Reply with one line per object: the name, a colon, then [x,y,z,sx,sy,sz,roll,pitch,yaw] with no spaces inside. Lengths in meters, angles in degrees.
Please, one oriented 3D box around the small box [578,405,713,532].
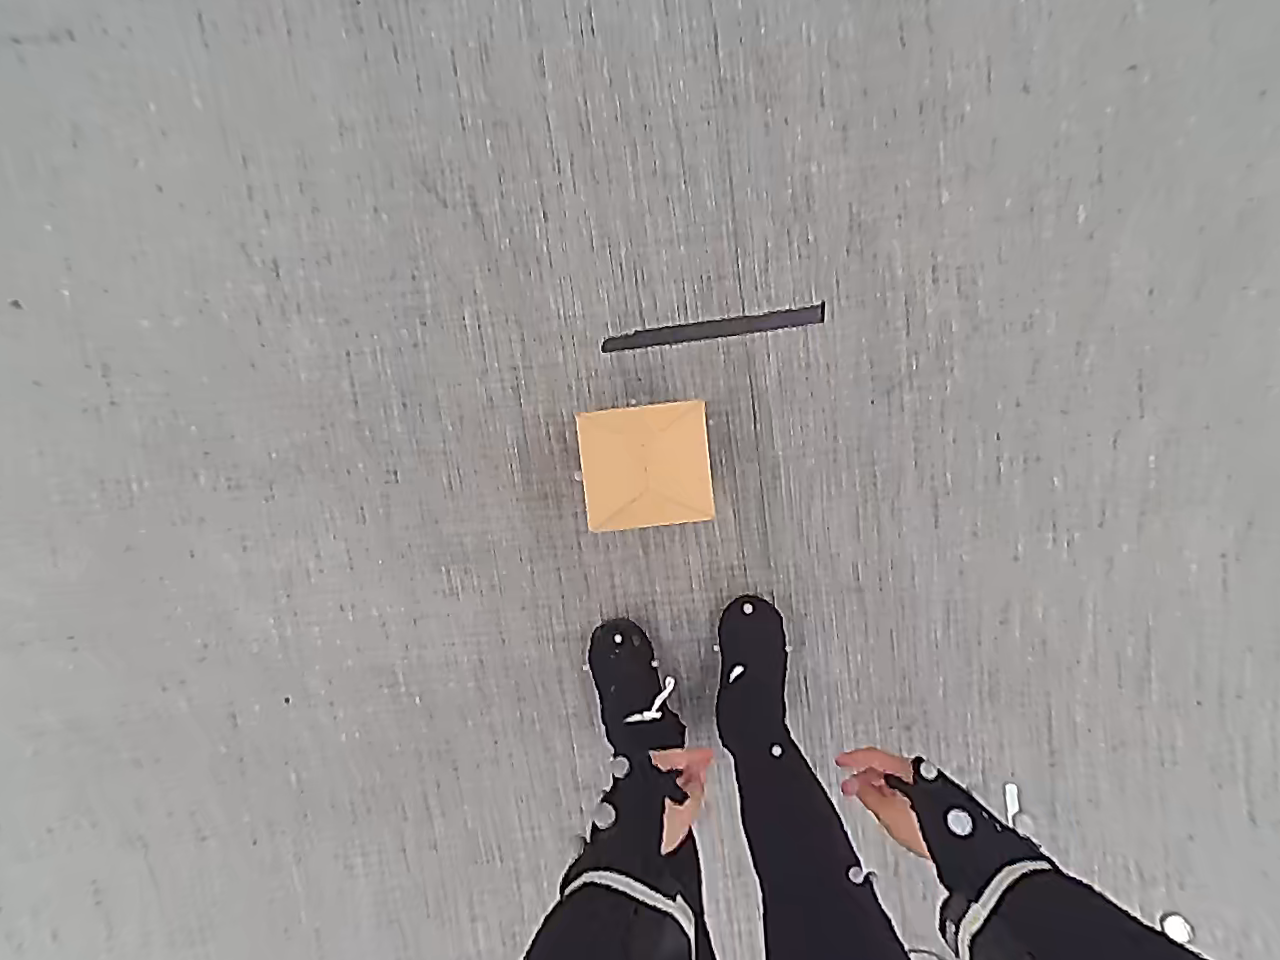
small box: [0.010,-0.022,0.813,0.179,0.176,0.168,-6,95,0]
